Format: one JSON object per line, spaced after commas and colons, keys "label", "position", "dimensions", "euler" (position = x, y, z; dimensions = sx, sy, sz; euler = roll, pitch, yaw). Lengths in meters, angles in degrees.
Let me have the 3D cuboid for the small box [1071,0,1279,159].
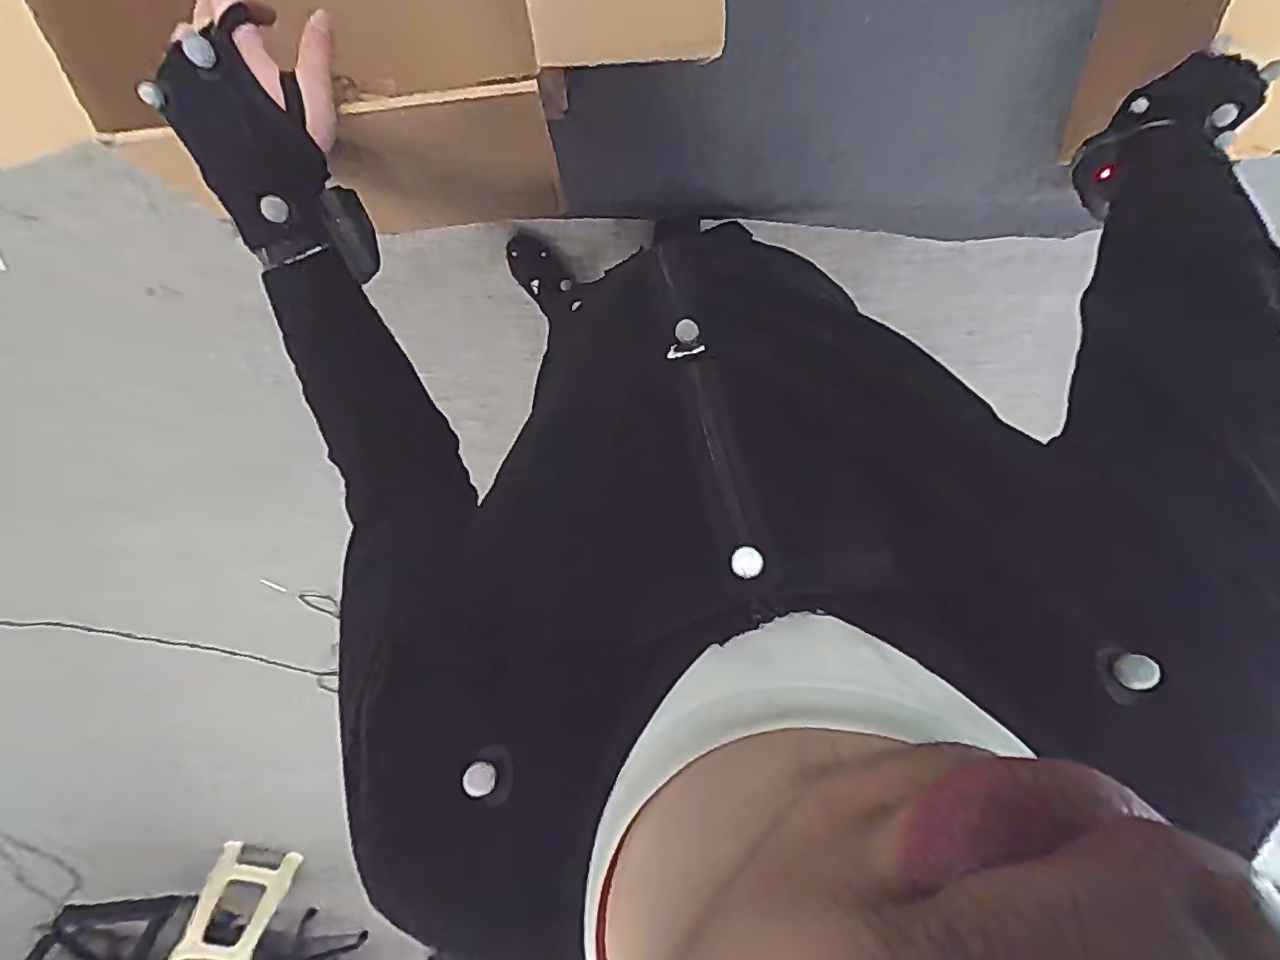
{"label": "small box", "position": [0.602, -0.439, 0.560], "dimensions": [0.168, 0.176, 0.179], "euler": [-4, 119, 1]}
